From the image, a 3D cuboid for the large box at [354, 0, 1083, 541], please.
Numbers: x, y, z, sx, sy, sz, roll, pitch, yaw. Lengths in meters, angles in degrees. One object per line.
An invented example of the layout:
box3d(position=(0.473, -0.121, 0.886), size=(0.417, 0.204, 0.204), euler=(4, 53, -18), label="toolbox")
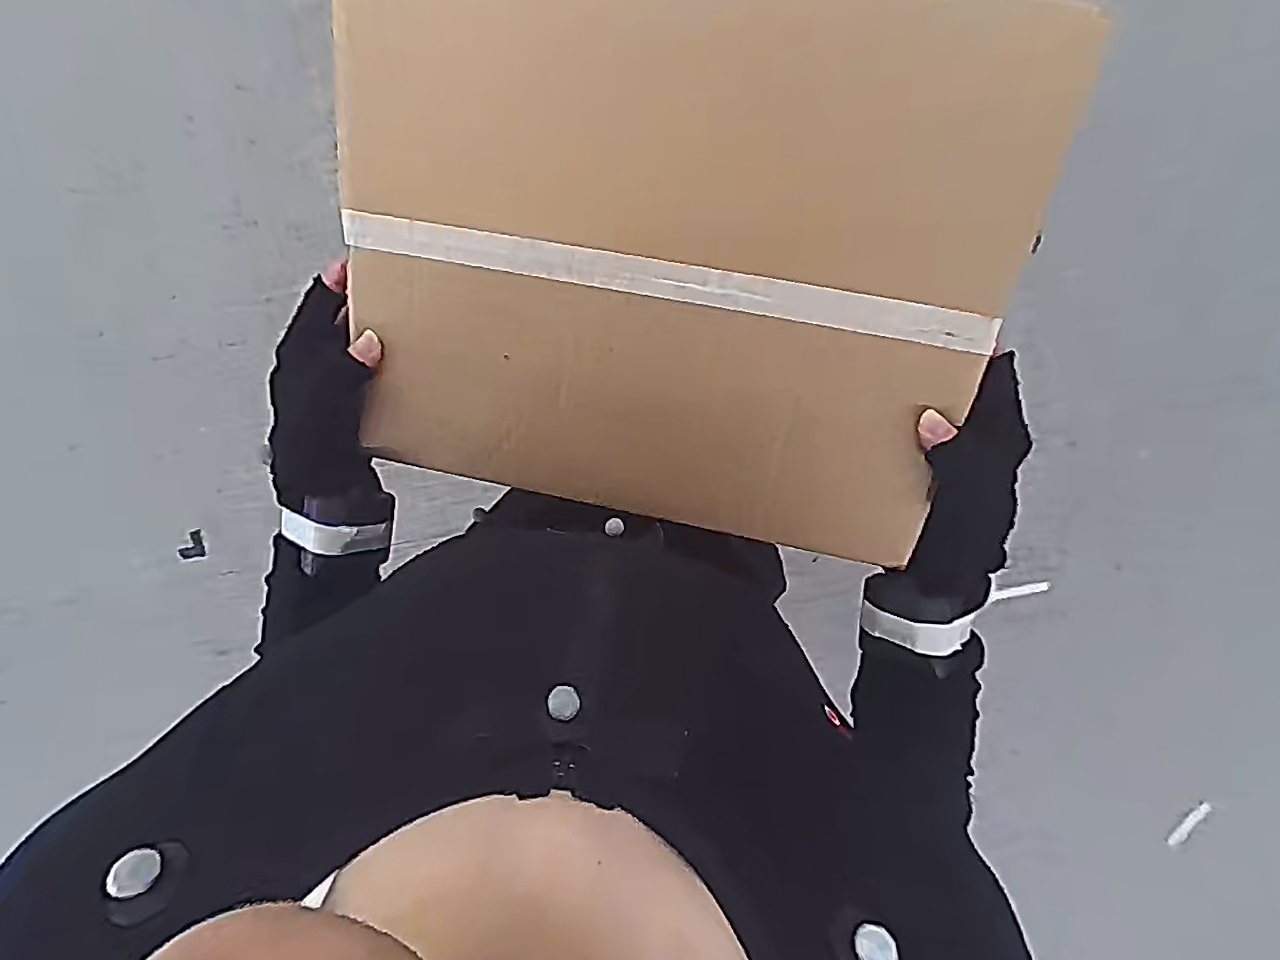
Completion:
box3d(position=(0.029, -0.182, 0.480), size=(0.408, 0.320, 0.320), euler=(11, 113, 5), label="large box")
